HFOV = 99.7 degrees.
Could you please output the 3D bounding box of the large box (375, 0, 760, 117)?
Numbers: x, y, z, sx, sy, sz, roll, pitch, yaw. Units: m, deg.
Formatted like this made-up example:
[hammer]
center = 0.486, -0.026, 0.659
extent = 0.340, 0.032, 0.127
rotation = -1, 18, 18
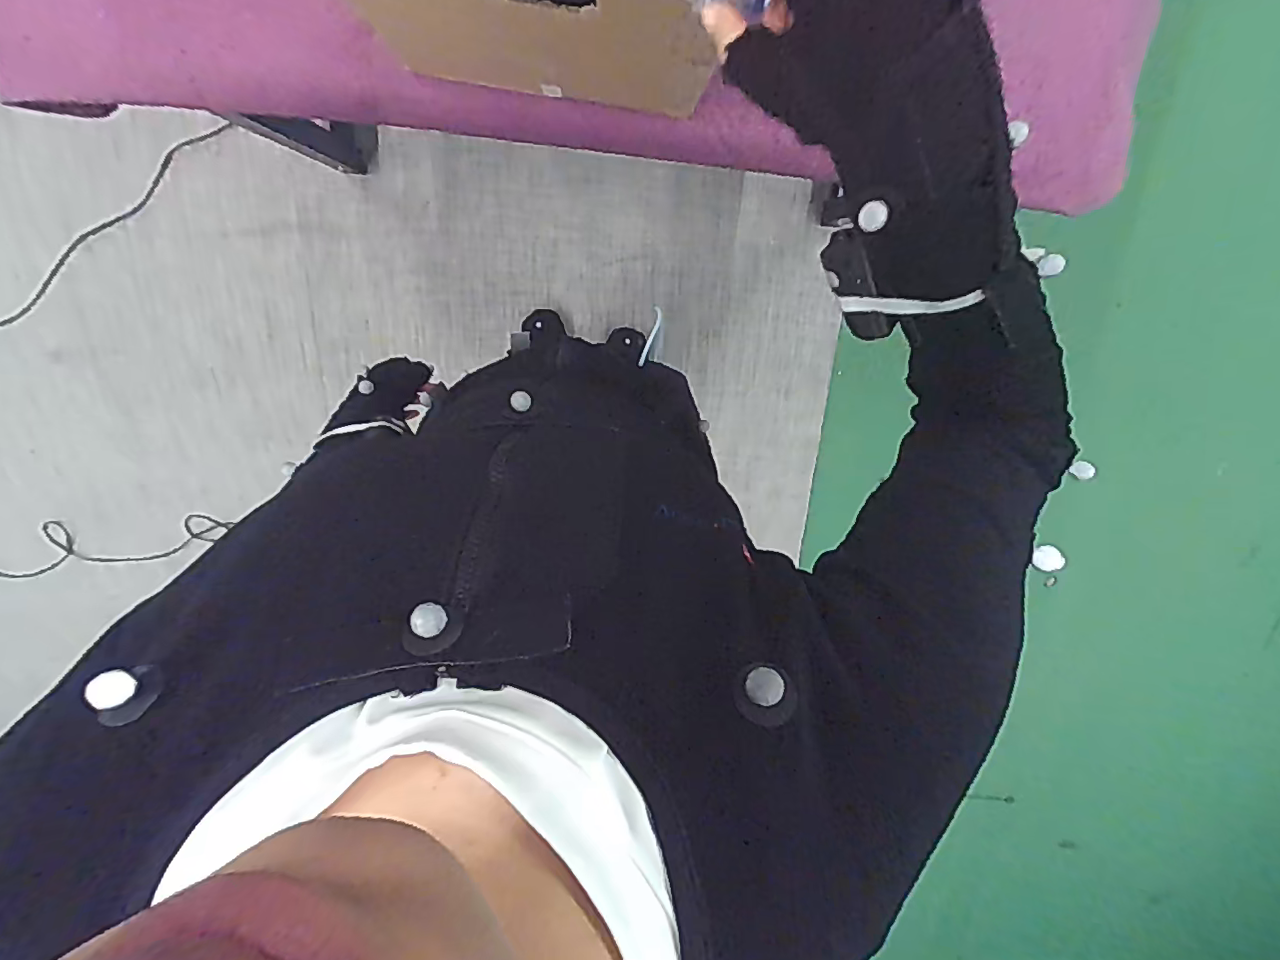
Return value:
[large box]
center = -0.052, -0.572, 0.408
extent = 0.320, 0.320, 0.408
rotation = 6, 109, -6
